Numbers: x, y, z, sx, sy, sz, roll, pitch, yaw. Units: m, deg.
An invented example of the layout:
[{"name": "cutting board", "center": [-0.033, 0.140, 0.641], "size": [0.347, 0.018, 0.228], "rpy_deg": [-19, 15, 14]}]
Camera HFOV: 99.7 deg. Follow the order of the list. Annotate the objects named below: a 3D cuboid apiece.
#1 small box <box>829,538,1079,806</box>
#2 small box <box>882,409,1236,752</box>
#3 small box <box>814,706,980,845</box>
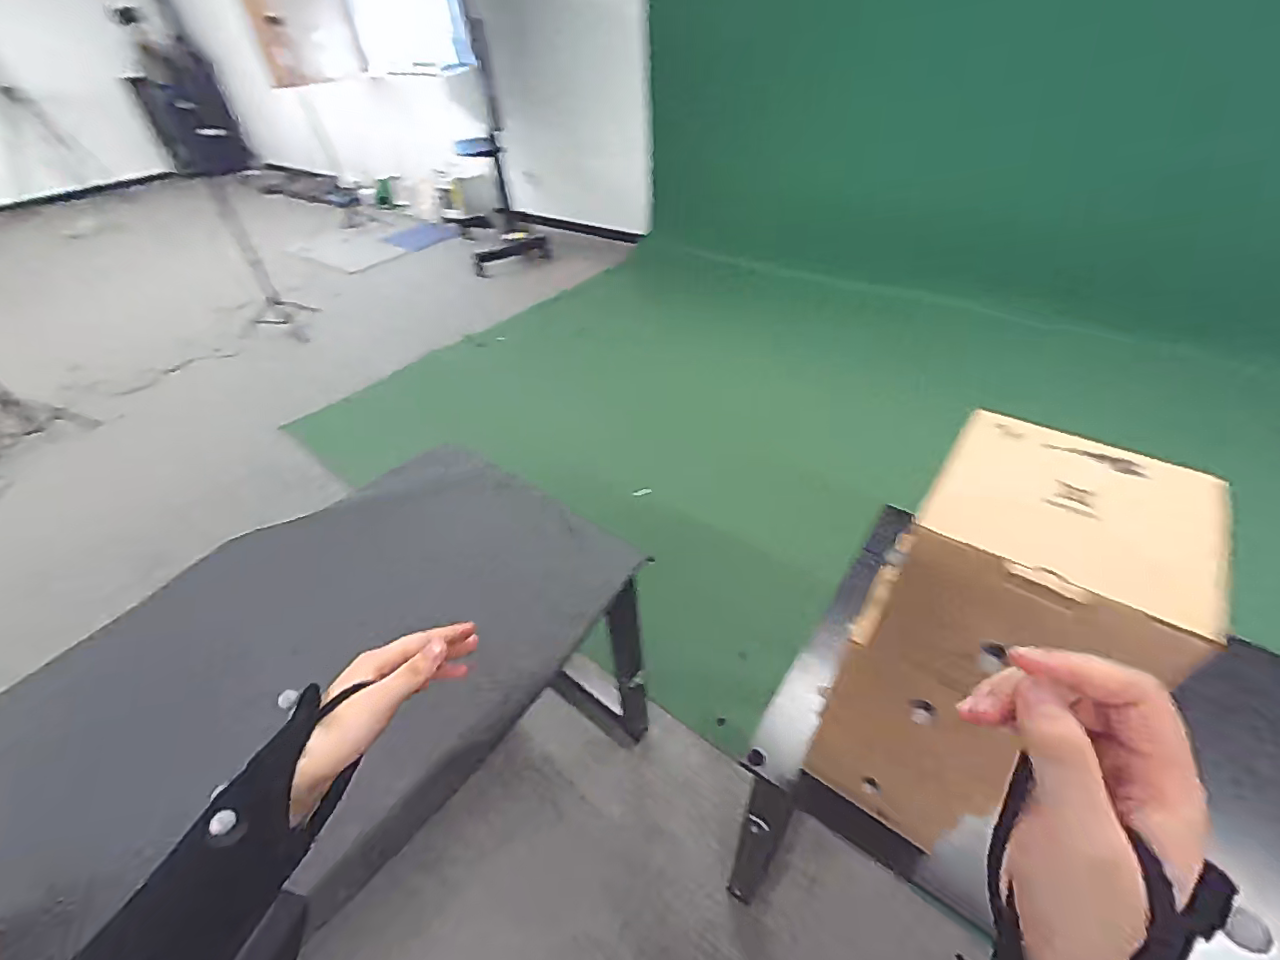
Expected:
[{"name": "small box", "center": [0.317, 0.194, 0.550], "size": [0.179, 0.176, 0.168], "rpy_deg": [25, 50, 29]}, {"name": "small box", "center": [0.315, 0.076, 0.435], "size": [0.168, 0.176, 0.179], "rpy_deg": [26, 51, 30]}, {"name": "small box", "center": [0.331, 0.304, 0.670], "size": [0.168, 0.176, 0.179], "rpy_deg": [26, 49, 28]}]
